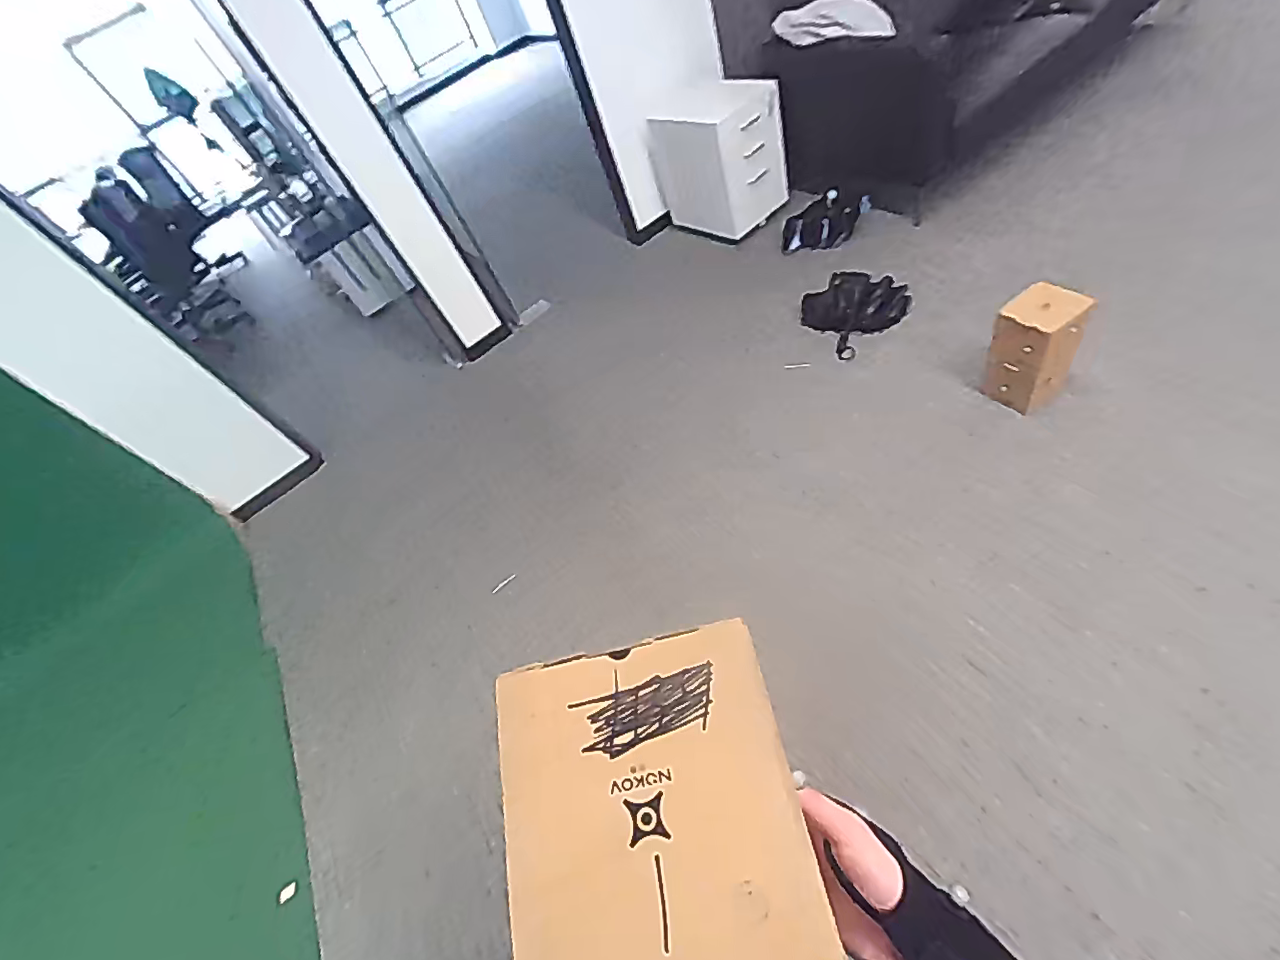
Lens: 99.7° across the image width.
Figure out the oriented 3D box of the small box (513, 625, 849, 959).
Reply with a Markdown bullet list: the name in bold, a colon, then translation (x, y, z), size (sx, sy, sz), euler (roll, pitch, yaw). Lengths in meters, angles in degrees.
- **small box**: translation (0.021, 0.222, 0.377), size (0.168, 0.176, 0.179), euler (-14, 61, 3)
